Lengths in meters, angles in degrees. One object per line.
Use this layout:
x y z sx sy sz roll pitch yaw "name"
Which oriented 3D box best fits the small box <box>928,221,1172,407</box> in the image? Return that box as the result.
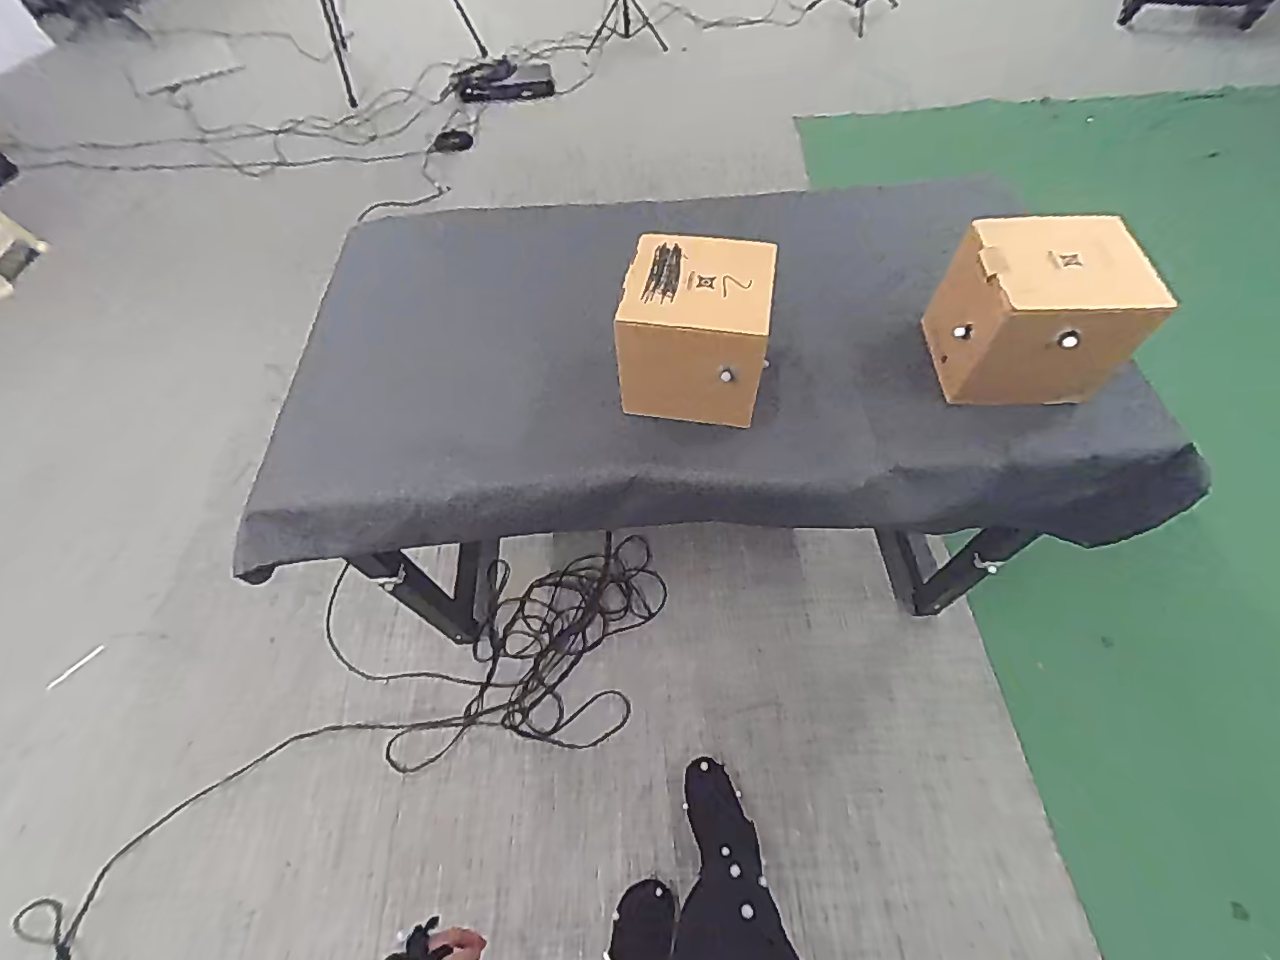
0.498 -0.208 0.698 0.179 0.176 0.168 1 59 4 "small box"
